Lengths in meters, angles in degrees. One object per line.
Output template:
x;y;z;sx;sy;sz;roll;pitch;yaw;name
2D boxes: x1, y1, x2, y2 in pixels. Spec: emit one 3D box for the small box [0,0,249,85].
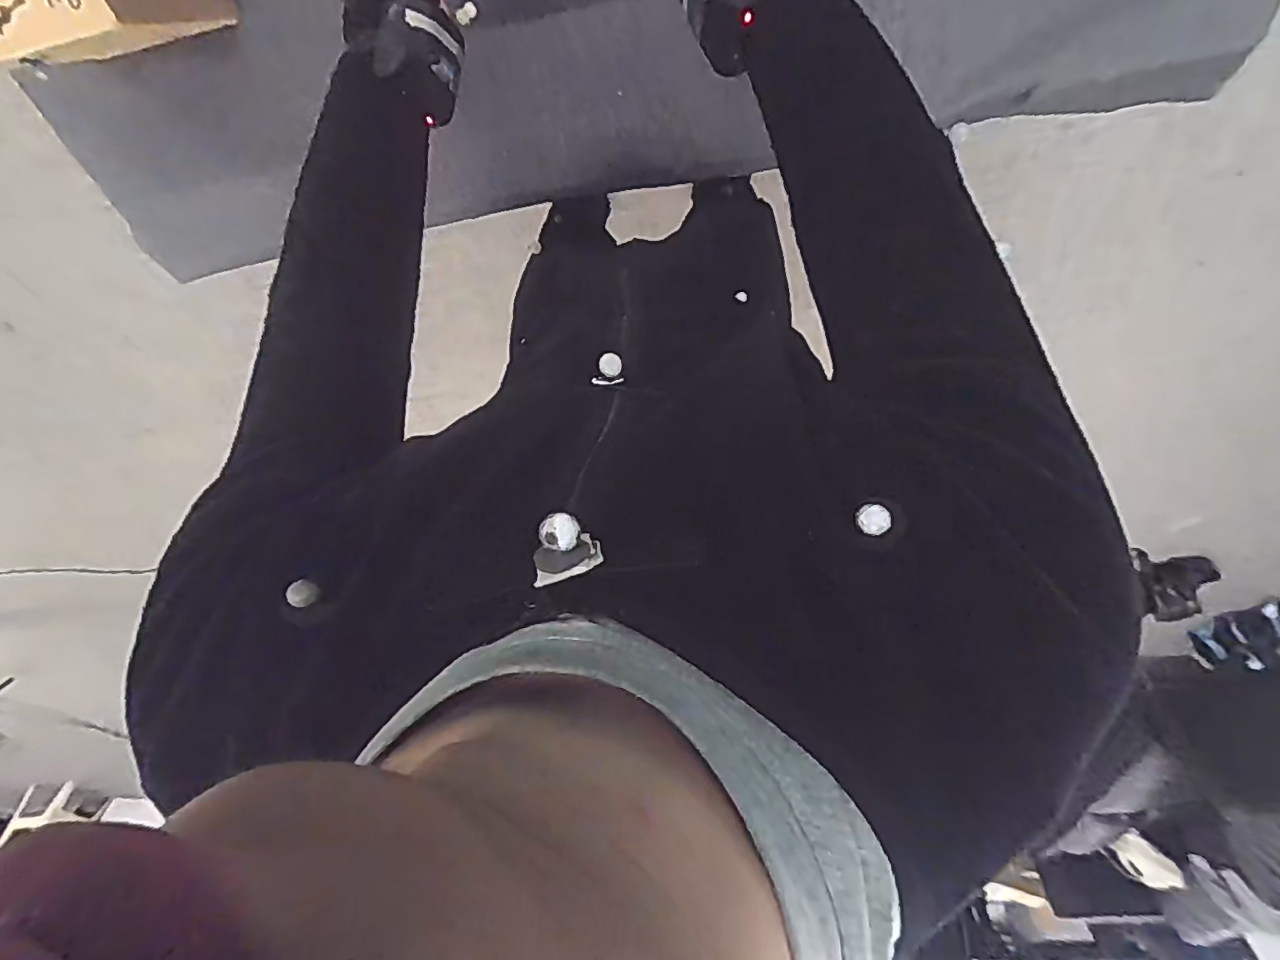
-0.464;-0.427;0.414;0.168;0.176;0.179;-7;131;8;small box
